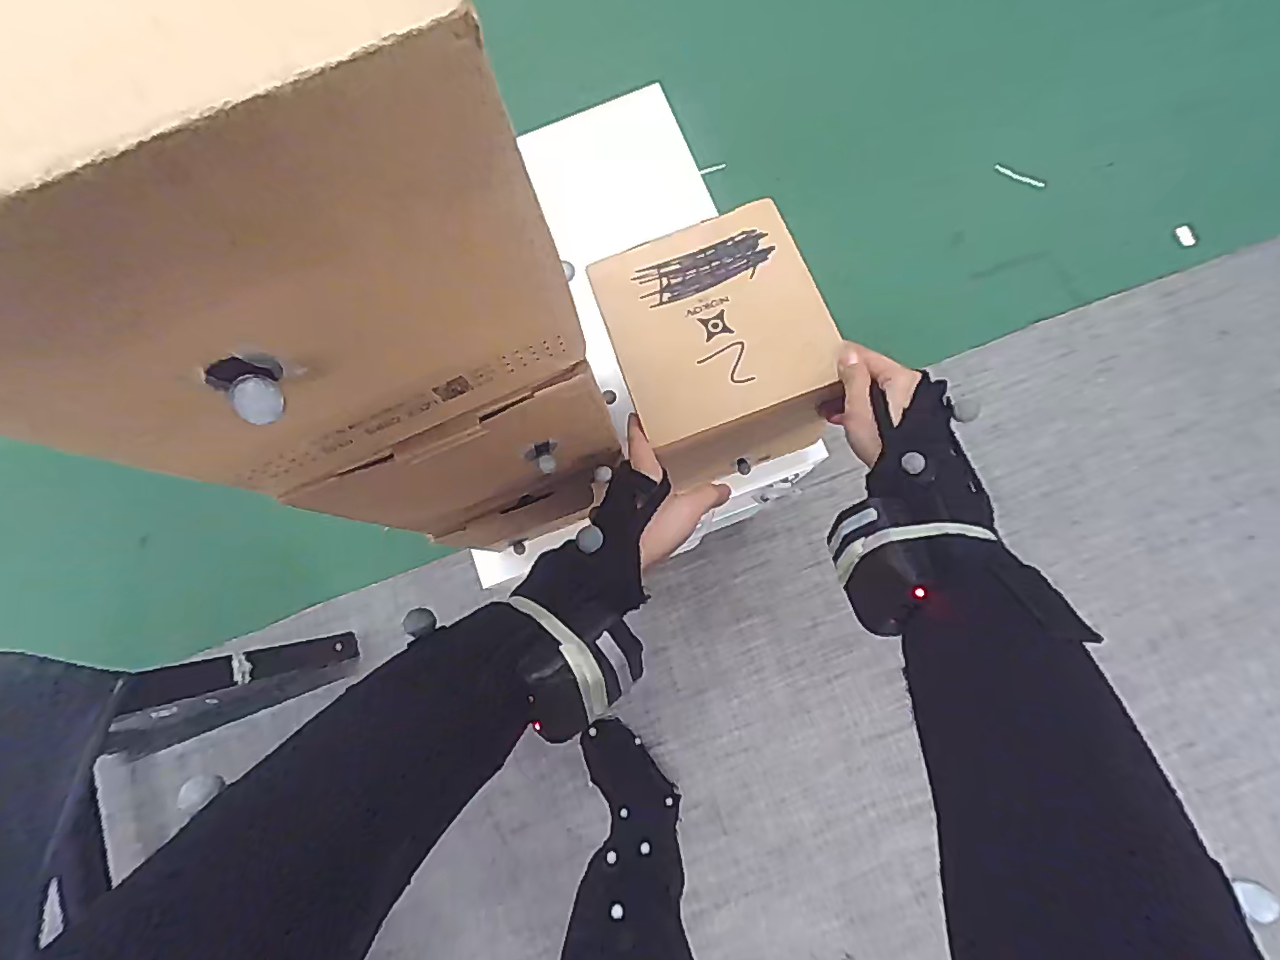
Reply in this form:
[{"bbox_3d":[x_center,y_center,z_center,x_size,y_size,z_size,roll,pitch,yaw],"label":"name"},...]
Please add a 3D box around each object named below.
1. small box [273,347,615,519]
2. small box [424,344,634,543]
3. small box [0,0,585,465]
[{"bbox_3d":[-0.124,-0.083,0.356,0.168,0.176,0.179,-23,78,-3],"label":"small box"},{"bbox_3d":[-0.110,-0.046,0.513,0.168,0.176,0.179,-20,78,-1],"label":"small box"},{"bbox_3d":[-0.132,-0.117,0.197,0.168,0.176,0.179,-24,78,-2],"label":"small box"}]
